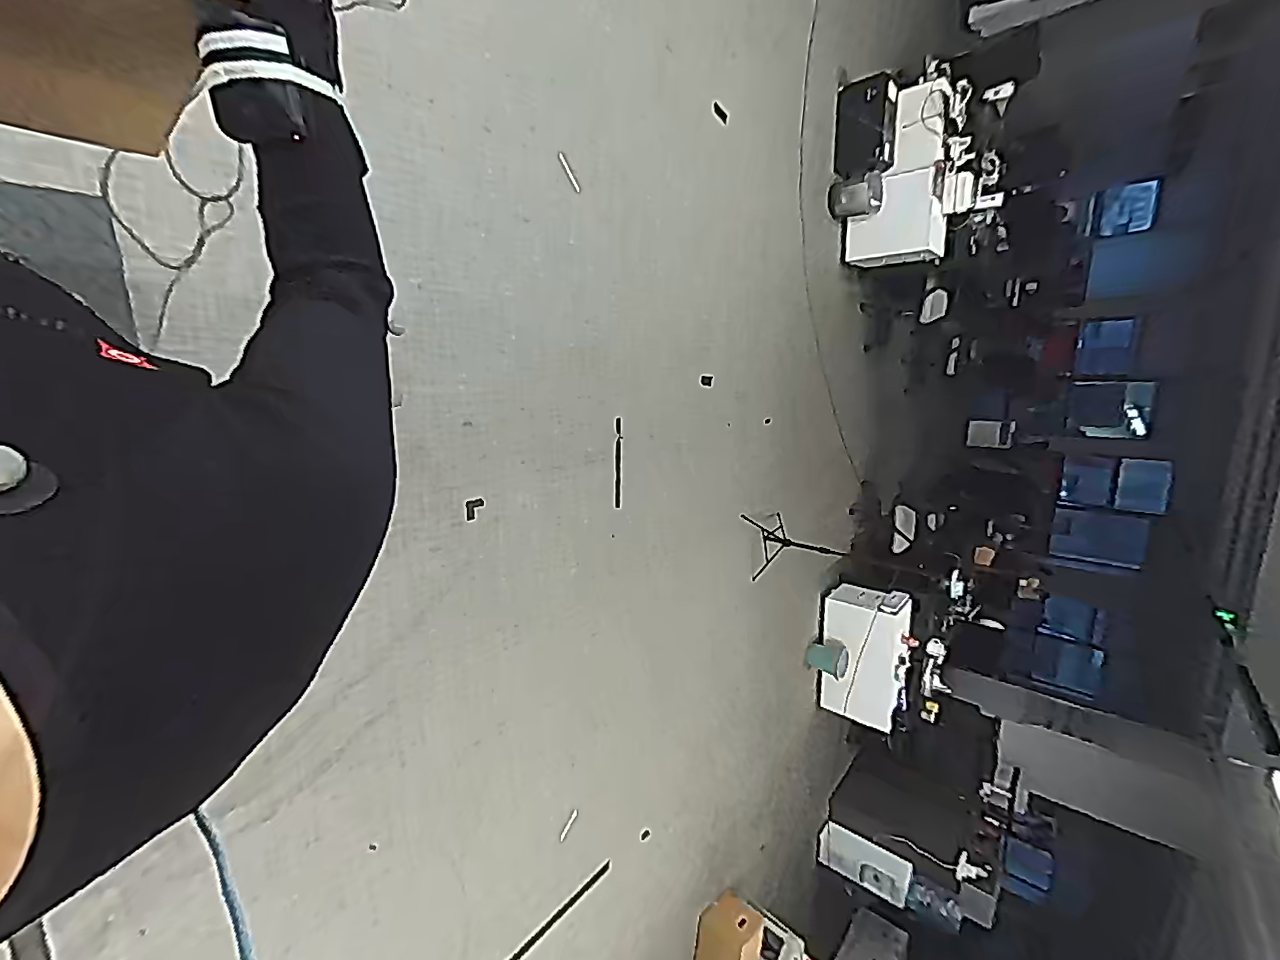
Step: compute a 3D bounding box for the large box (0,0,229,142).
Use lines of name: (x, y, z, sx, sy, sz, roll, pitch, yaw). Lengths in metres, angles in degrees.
large box: (-0.508, -0.438, 0.272, 0.408, 0.320, 0.320, -14, 105, -48)
